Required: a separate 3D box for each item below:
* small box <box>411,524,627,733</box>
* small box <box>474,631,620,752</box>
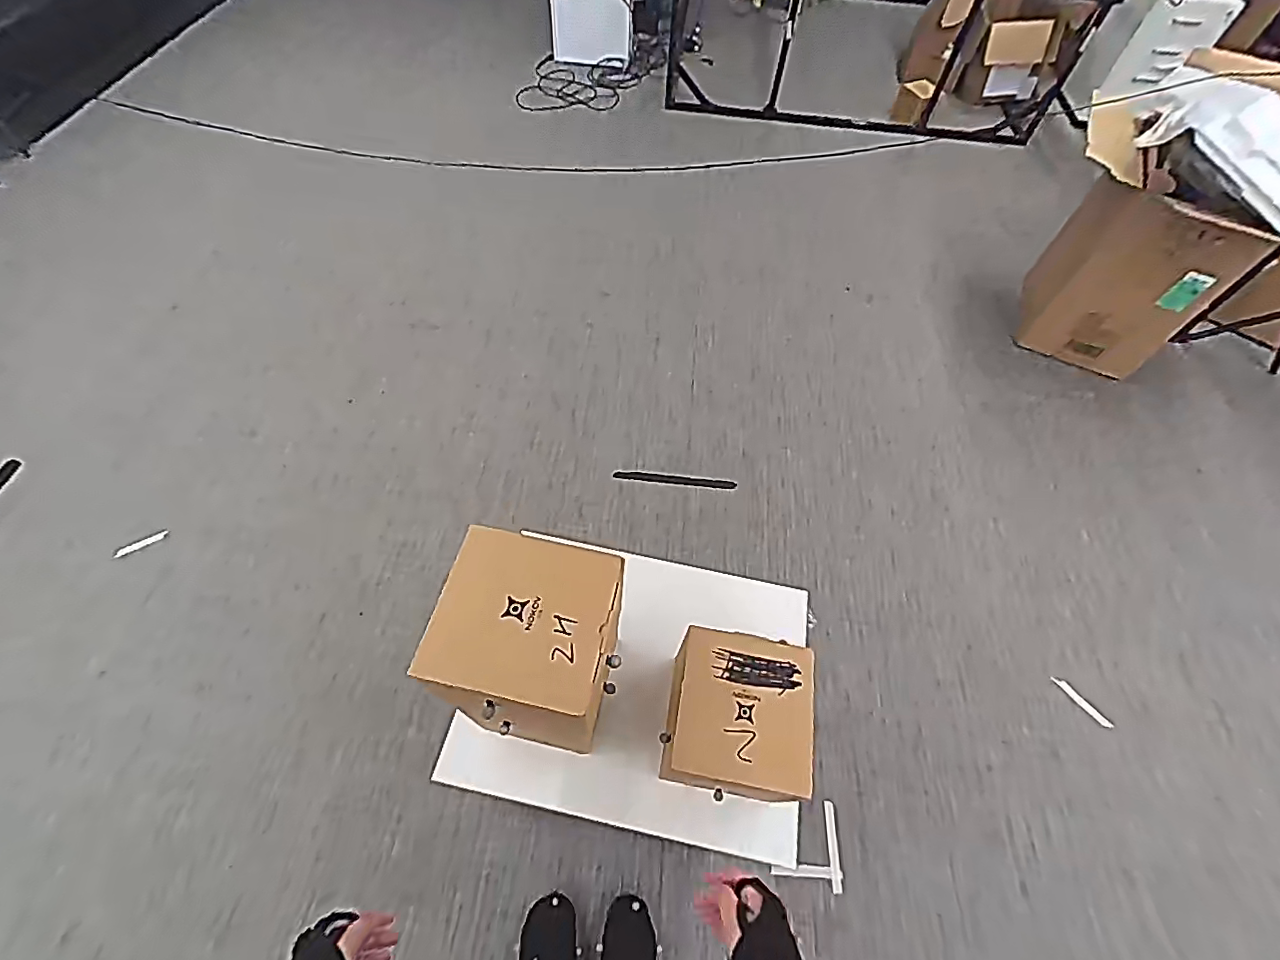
[{"bbox_3d":[-0.119,0.174,0.610,0.179,0.176,0.168,12,59,4],"label":"small box"},{"bbox_3d":[-0.126,0.258,0.752,0.168,0.176,0.179,12,57,5],"label":"small box"}]
